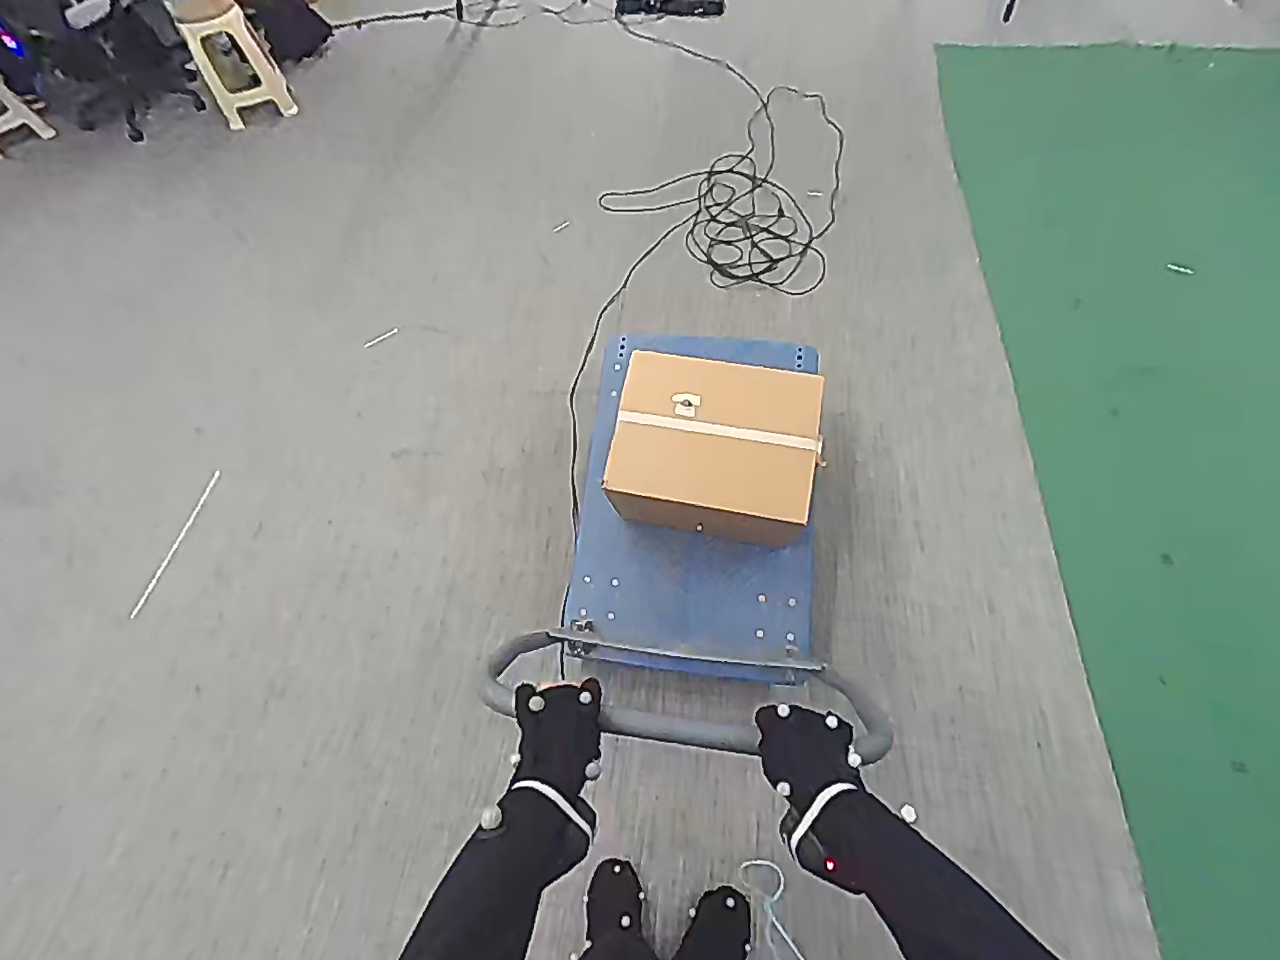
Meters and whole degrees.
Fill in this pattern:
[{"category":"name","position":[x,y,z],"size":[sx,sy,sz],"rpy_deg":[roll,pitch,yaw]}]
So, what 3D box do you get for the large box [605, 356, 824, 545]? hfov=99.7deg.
[{"category":"large box","position":[0.170,-0.051,1.226],"size":[0.408,0.320,0.320],"rpy_deg":[10,76,9]}]
